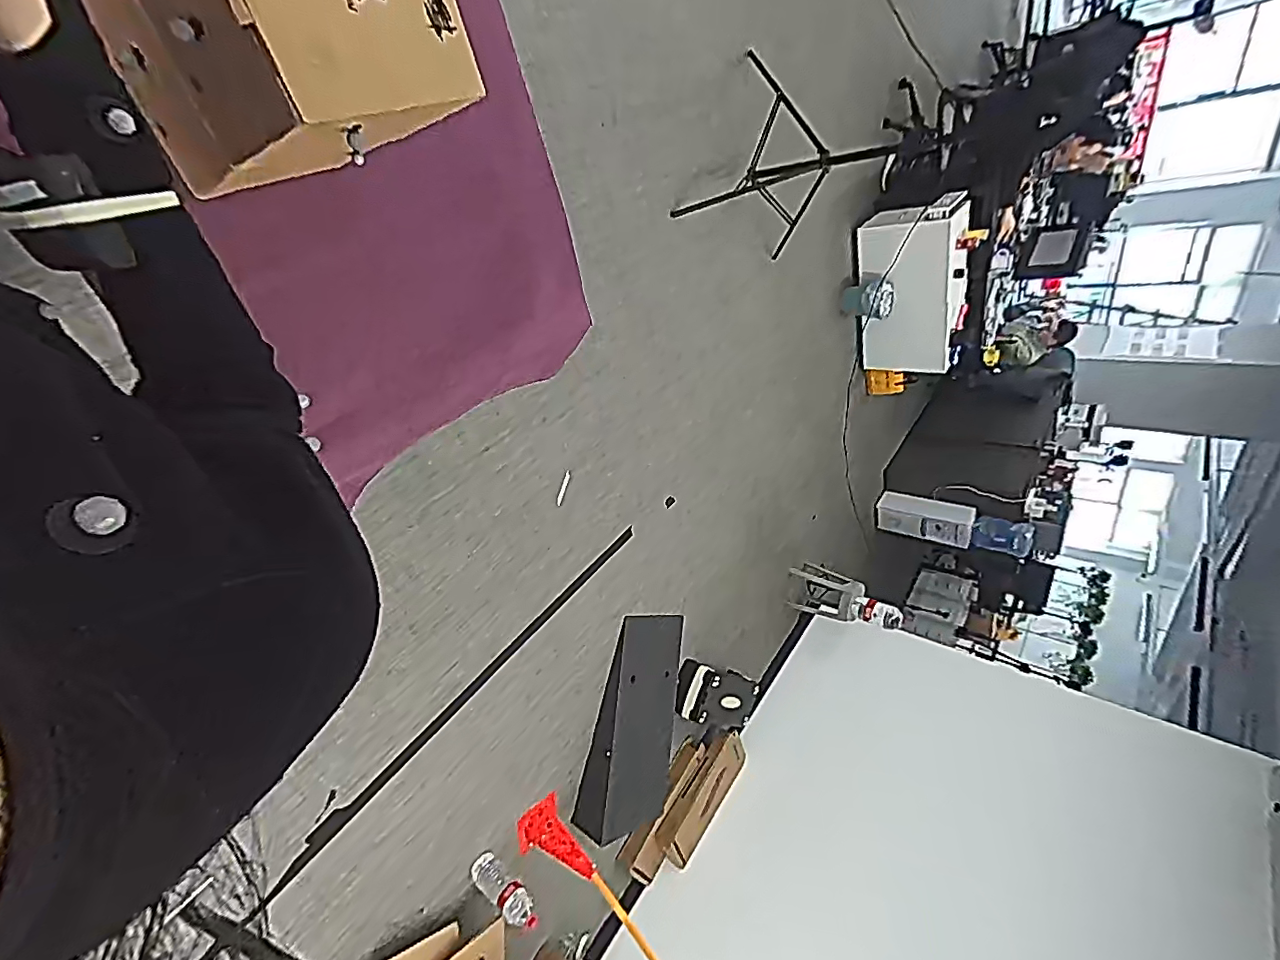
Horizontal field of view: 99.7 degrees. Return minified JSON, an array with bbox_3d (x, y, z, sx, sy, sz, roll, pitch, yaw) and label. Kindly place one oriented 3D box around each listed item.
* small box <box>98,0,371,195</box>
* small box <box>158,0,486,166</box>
[{"bbox_3d":[-0.397,-0.410,0.553,0.179,0.176,0.168,-43,130,-35],"label":"small box"},{"bbox_3d":[-0.271,-0.382,0.452,0.179,0.176,0.168,-41,129,-35],"label":"small box"}]
